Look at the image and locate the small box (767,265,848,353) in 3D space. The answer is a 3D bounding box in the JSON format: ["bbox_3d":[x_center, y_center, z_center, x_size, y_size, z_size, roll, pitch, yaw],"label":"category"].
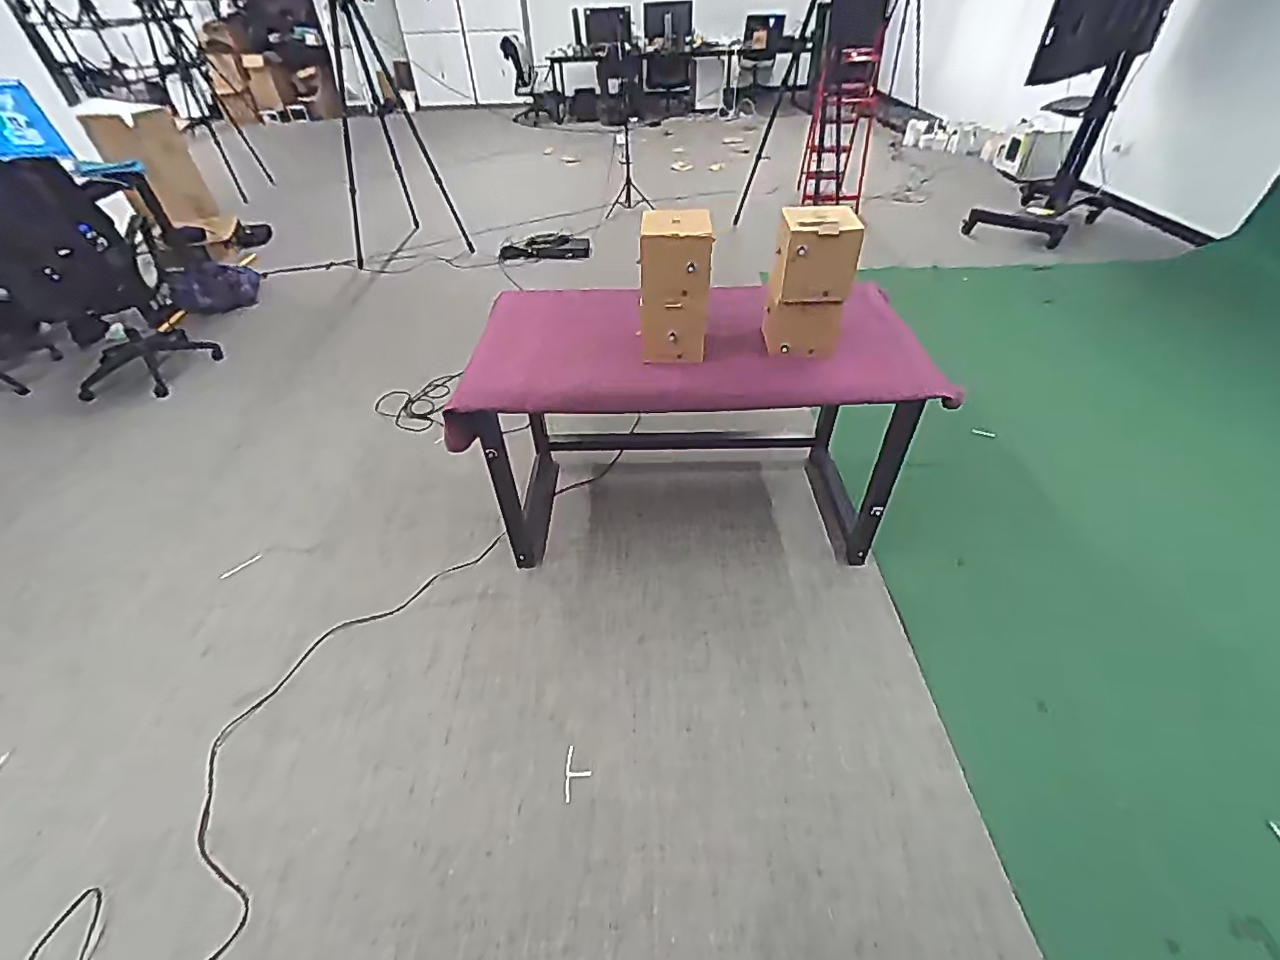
[{"bbox_3d":[0.434,-0.450,1.430,0.168,0.176,0.179,3,44,3],"label":"small box"}]

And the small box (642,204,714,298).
[{"bbox_3d":[0.095,-0.557,1.324,0.168,0.176,0.179,1,43,3],"label":"small box"}]

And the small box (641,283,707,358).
[{"bbox_3d":[0.093,-0.438,1.435,0.168,0.176,0.179,2,44,4],"label":"small box"}]
